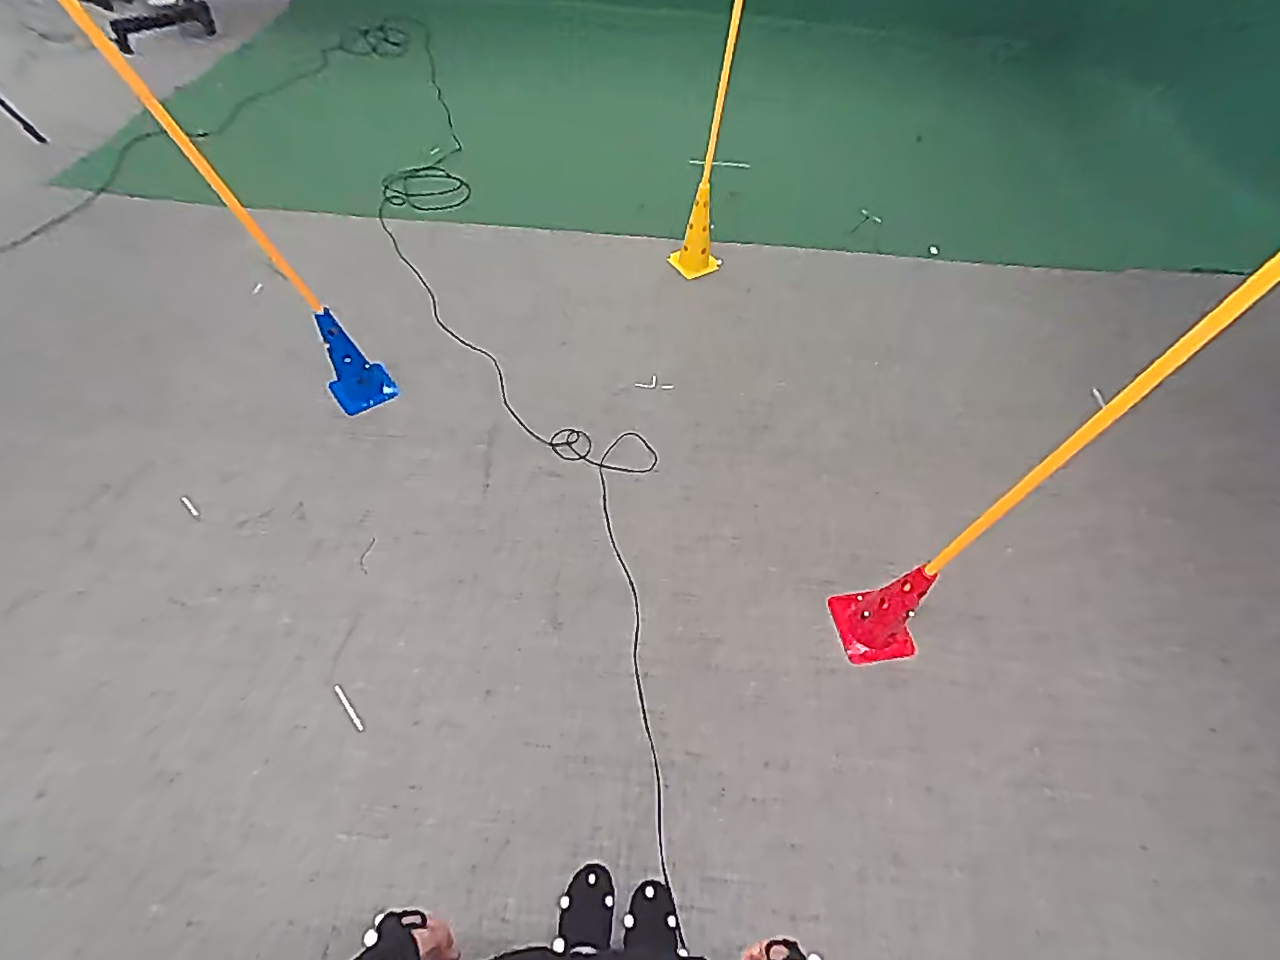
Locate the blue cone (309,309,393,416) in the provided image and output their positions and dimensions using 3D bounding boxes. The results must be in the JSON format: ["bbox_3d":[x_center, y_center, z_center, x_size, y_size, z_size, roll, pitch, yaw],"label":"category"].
[{"bbox_3d":[-1.008,-0.410,1.826,0.193,0.380,0.192,-35,64,-21],"label":"blue cone"}]
